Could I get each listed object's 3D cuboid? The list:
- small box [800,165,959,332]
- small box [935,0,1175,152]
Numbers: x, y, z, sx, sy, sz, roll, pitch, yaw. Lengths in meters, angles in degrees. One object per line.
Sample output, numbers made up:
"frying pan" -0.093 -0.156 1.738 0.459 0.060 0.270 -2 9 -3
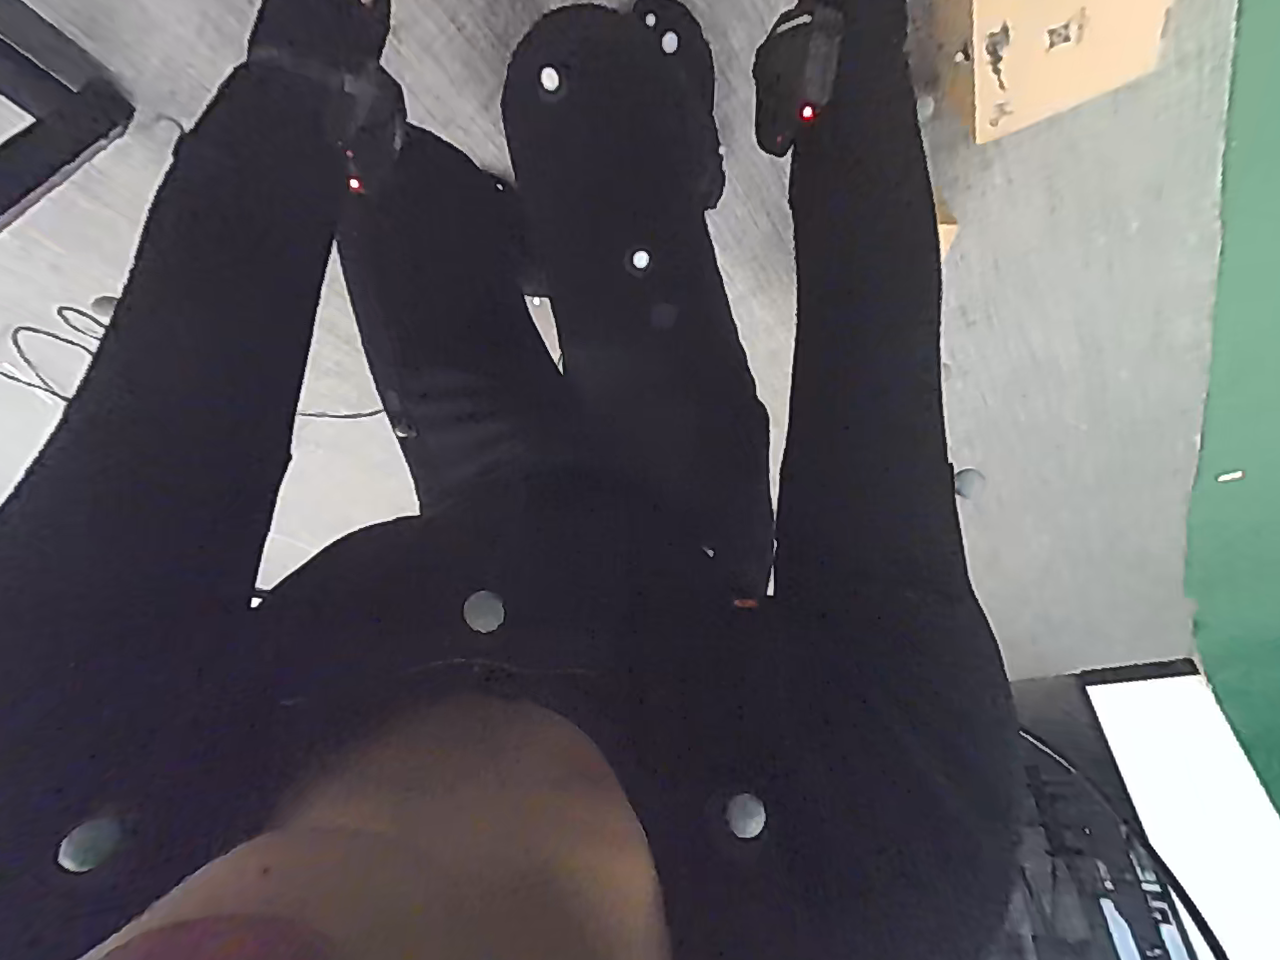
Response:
"small box" 0.358 -0.361 0.850 0.168 0.176 0.179 3 145 0
"small box" 0.450 -0.523 0.605 0.179 0.176 0.168 -14 142 24
